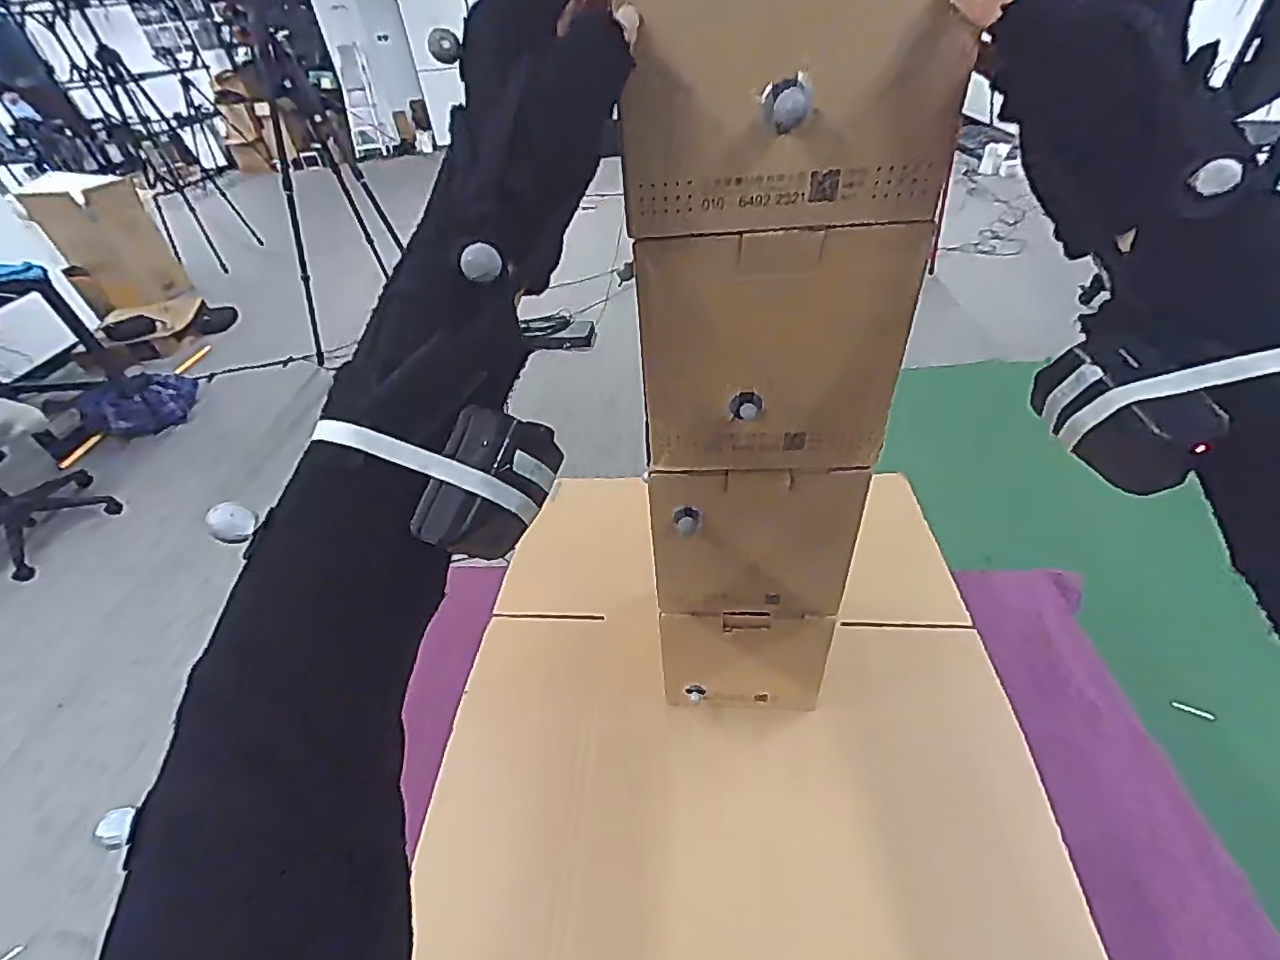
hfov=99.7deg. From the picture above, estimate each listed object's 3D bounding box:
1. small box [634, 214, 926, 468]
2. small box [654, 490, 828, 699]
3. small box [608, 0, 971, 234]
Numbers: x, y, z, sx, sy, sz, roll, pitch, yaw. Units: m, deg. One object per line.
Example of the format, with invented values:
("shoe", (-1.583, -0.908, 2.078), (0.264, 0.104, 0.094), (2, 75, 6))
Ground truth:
("small box", (0.086, -0.126, 0.418), (0.168, 0.176, 0.179), (-1, 39, 4))
("small box", (0.108, 0.130, 0.620), (0.168, 0.176, 0.179), (0, 39, 6))
("small box", (0.070, -0.253, 0.314), (0.168, 0.176, 0.179), (-2, 39, 4))
